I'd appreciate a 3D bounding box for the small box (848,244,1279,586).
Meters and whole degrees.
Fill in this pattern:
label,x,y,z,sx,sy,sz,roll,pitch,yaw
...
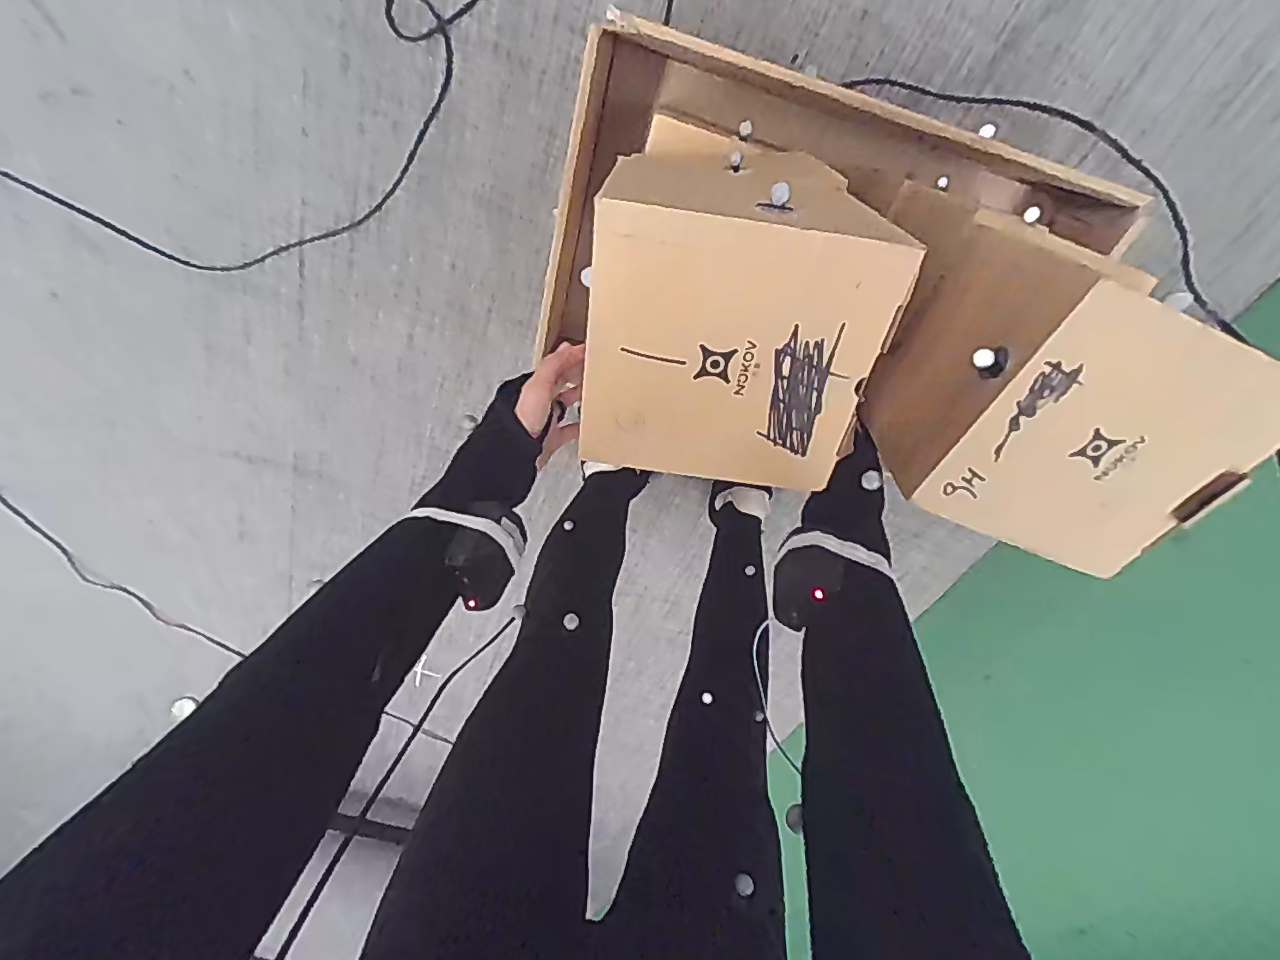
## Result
label,x,y,z,sx,sy,sz,roll,pitch,yaw
small box,0.290,-0.056,0.408,0.179,0.176,0.168,21,124,-9

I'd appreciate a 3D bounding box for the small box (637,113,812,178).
label,x,y,z,sx,sy,sz,roll,pitch,yaw
small box,0.074,-0.317,0.645,0.179,0.176,0.168,15,127,-8

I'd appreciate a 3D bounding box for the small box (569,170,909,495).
label,x,y,z,sx,sy,sz,roll,pitch,yaw
small box,0.051,-0.112,0.392,0.179,0.176,0.168,8,127,-2

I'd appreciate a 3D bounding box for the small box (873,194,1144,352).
label,x,y,z,sx,sy,sz,roll,pitch,yaw
small box,0.309,-0.160,0.536,0.168,0.176,0.179,18,125,-6

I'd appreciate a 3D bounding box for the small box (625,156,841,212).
label,x,y,z,sx,sy,sz,roll,pitch,yaw
small box,0.070,-0.209,0.524,0.179,0.176,0.168,2,127,2
